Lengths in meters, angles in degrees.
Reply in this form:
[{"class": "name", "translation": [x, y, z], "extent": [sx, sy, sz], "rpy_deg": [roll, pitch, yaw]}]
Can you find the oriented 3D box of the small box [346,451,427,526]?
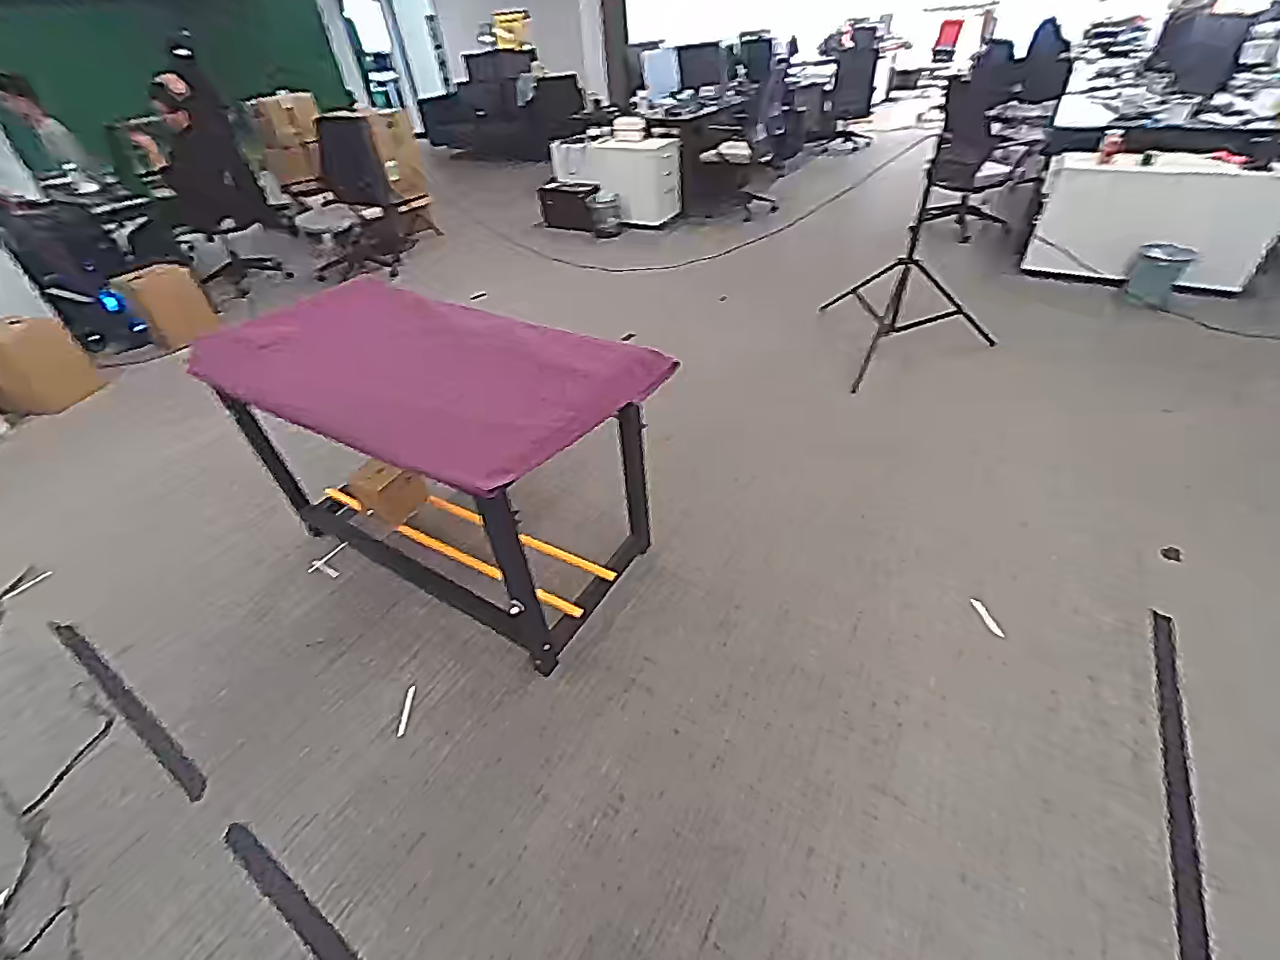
[{"class": "small box", "translation": [-0.879, 0.031, 1.900], "extent": [0.168, 0.176, 0.179], "rpy_deg": [17, 47, 24]}]
